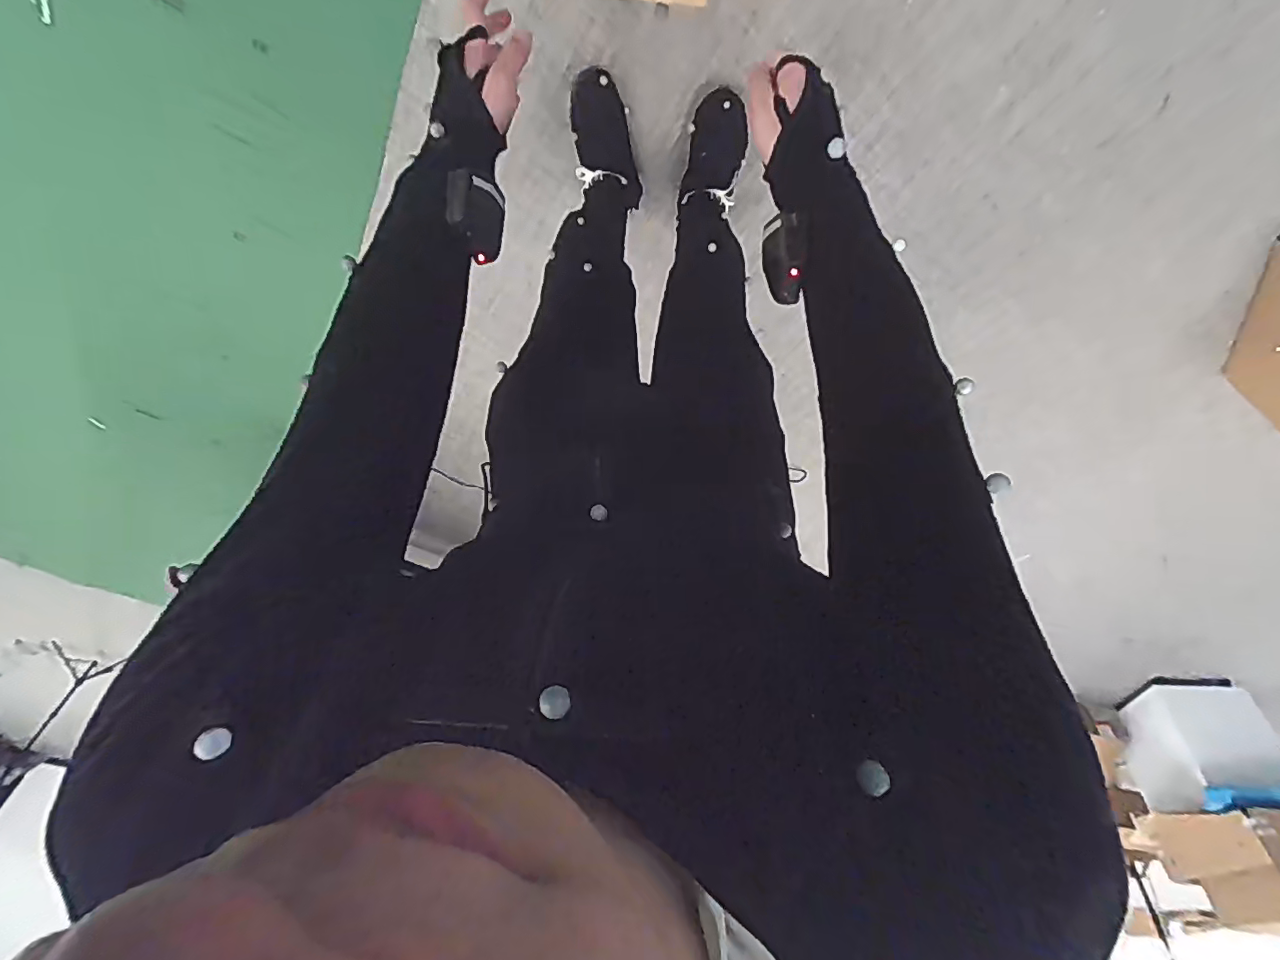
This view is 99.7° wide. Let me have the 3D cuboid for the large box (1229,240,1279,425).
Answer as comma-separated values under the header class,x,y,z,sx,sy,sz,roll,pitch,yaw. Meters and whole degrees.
class,x,y,z,sx,sy,sz,roll,pitch,yaw
large box,1.611,-0.329,1.169,0.320,0.320,0.408,-14,134,21
